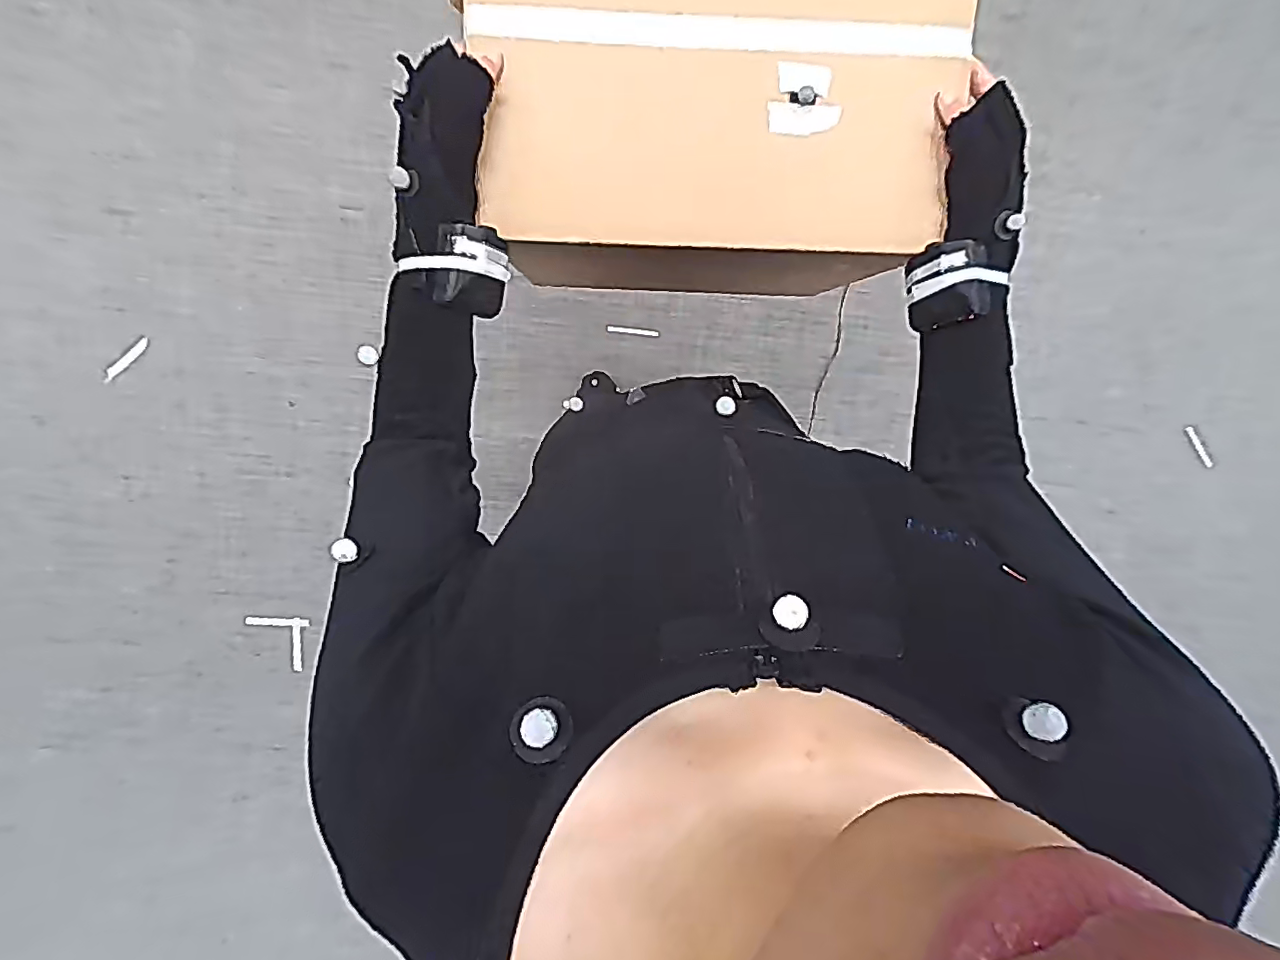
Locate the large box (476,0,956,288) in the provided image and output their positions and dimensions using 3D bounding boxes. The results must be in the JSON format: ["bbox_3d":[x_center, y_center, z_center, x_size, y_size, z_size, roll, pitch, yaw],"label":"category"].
[{"bbox_3d":[0.056,-0.393,0.597,0.408,0.320,0.320,0,103,-3],"label":"large box"}]
